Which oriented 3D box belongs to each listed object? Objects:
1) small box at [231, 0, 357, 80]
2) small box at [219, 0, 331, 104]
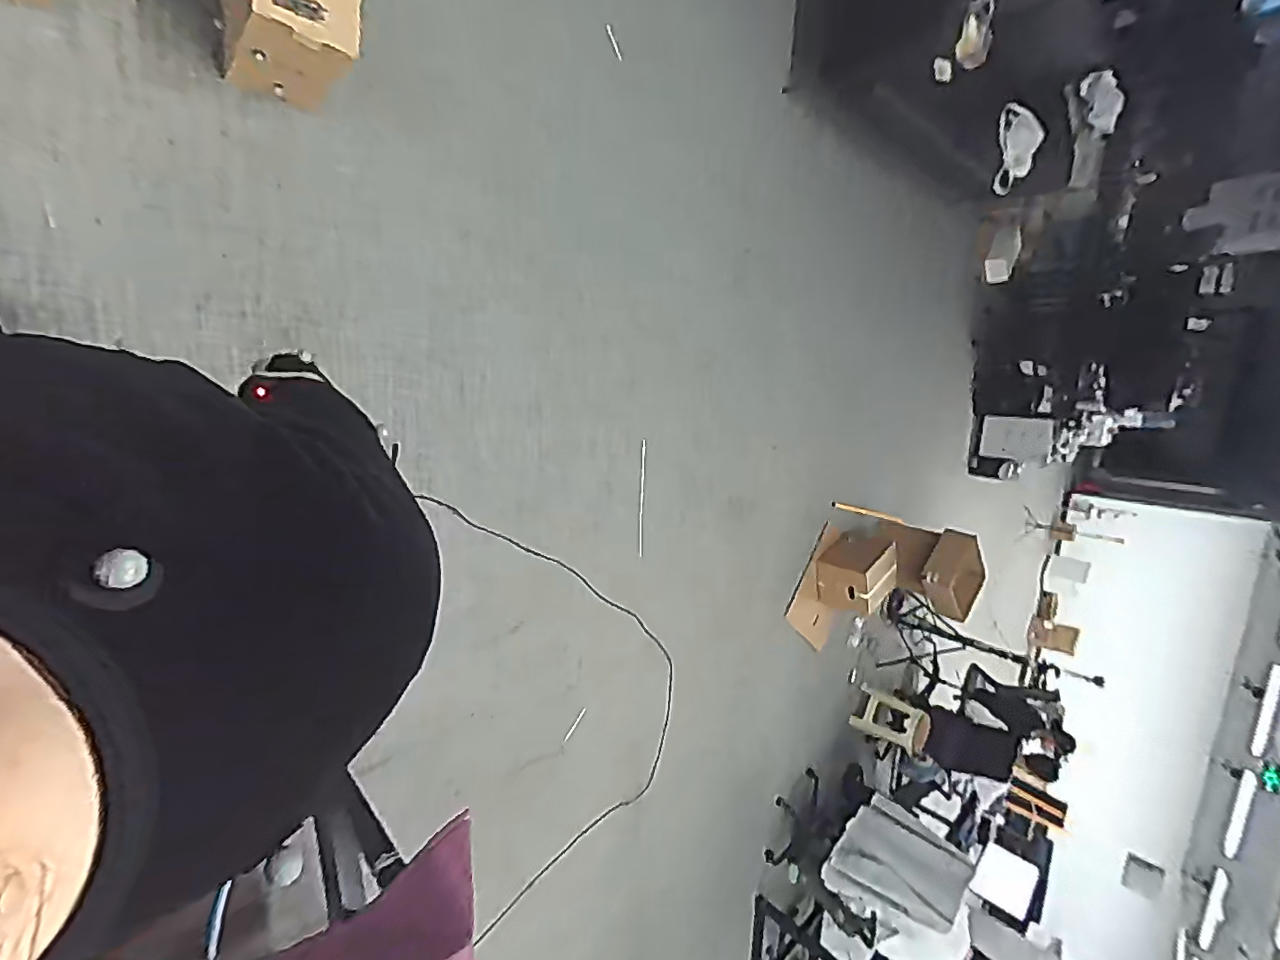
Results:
[{"bbox_3d":[-0.629,-0.879,0.983,0.168,0.176,0.179,-2,100,-44],"label":"small box"},{"bbox_3d":[-0.742,-0.910,1.100,0.168,0.176,0.179,-4,103,-44],"label":"small box"}]
